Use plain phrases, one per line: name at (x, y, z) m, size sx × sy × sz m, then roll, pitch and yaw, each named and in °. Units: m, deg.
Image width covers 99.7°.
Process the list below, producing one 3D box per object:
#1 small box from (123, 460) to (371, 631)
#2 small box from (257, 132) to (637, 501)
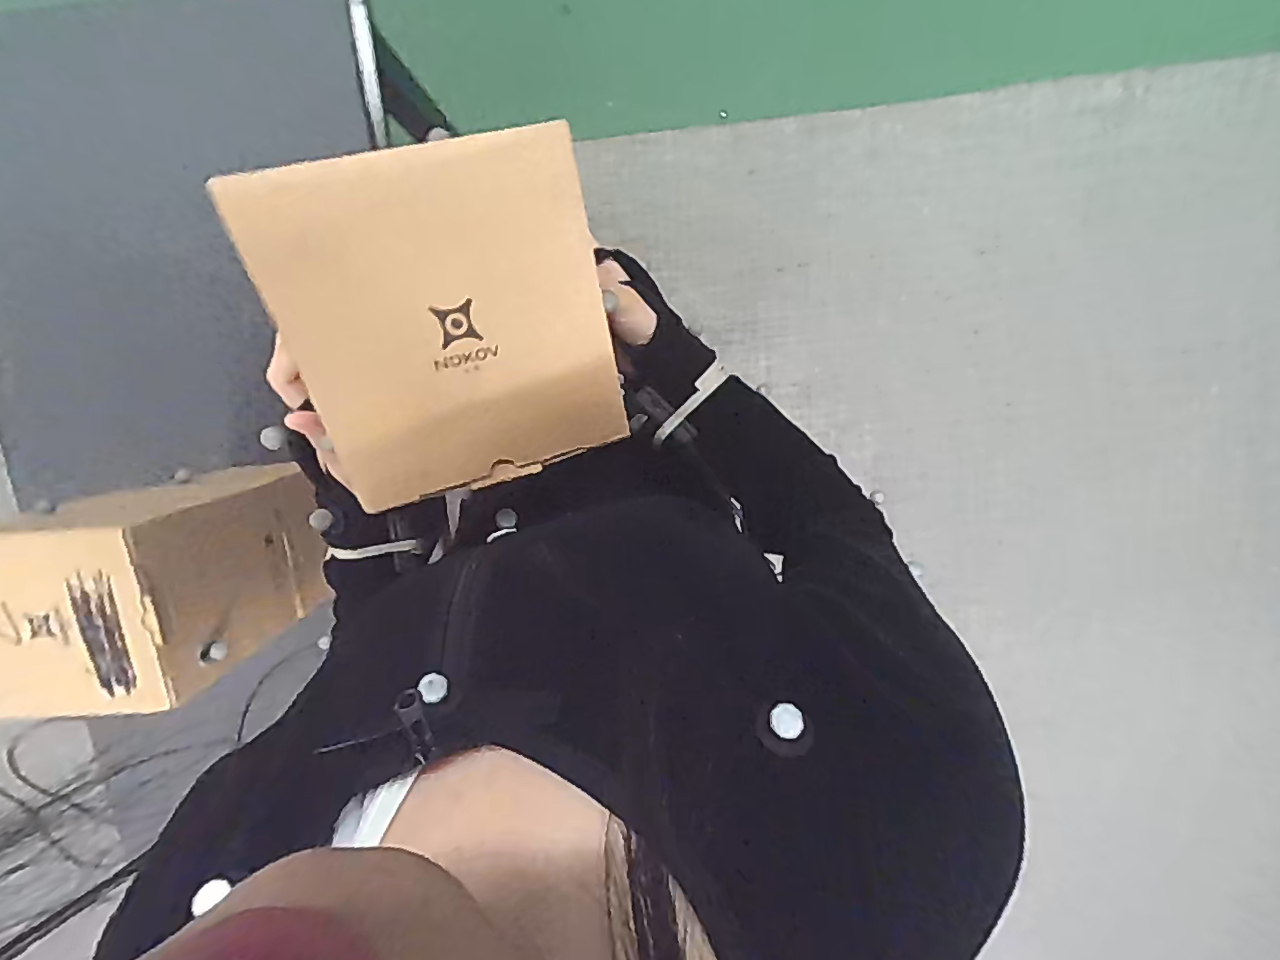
small box at (-0.482, 0.074, 0.693) m, size 0.179 × 0.176 × 0.168 m, roll -6°, pitch 102°, yaw 2°
small box at (-0.116, -0.113, 0.370) m, size 0.168 × 0.176 × 0.179 m, roll -16°, pitch 117°, yaw -13°
